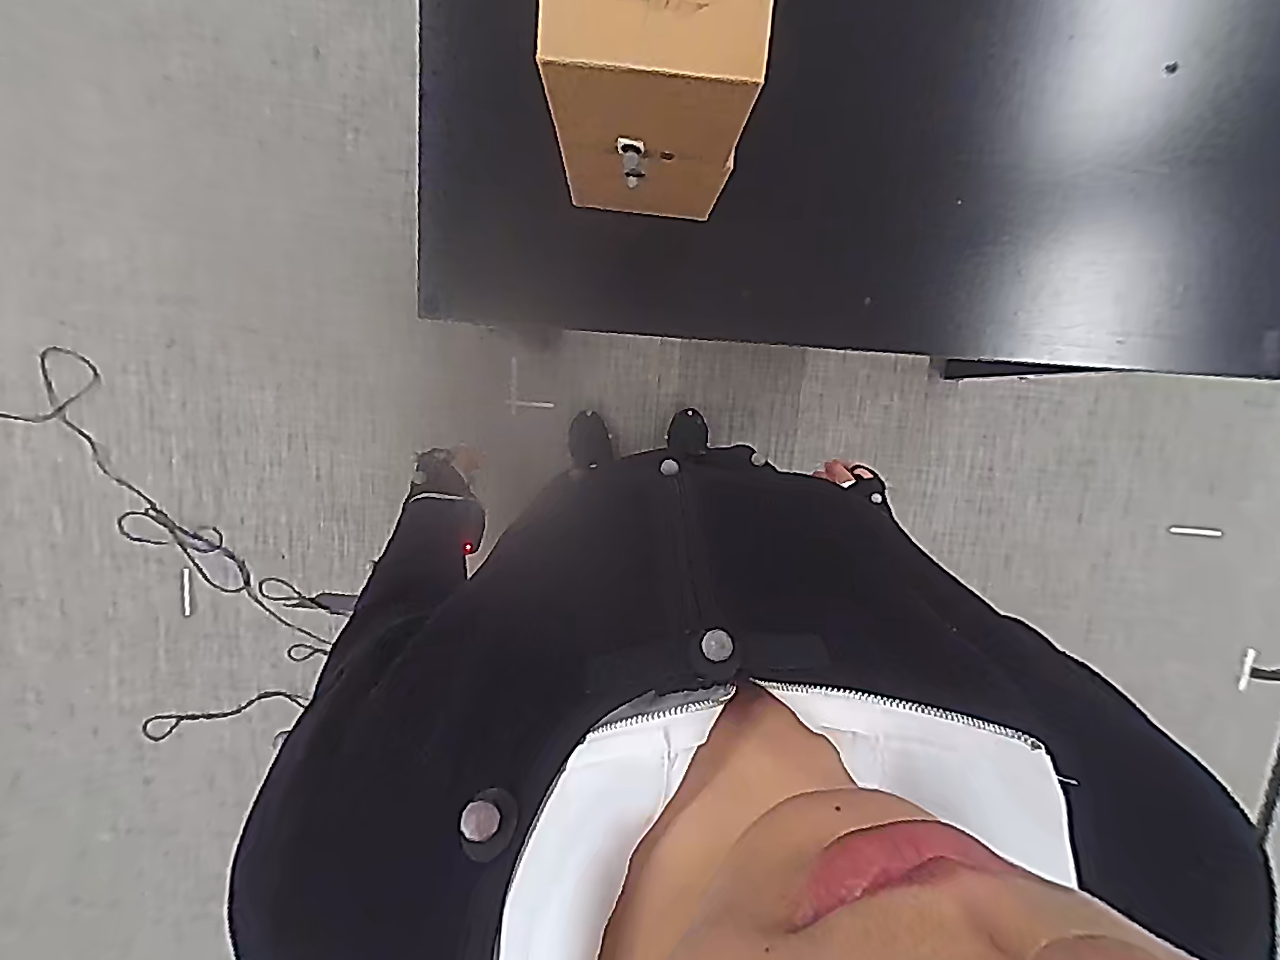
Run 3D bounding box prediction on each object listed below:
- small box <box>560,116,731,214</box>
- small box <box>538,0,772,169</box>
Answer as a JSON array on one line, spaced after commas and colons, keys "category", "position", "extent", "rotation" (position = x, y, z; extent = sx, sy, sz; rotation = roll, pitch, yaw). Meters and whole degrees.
[{"category": "small box", "position": [0.010, -0.420, 0.613], "extent": [0.179, 0.176, 0.168], "rotation": [5, 99, -4]}, {"category": "small box", "position": [0.013, -0.394, 0.453], "extent": [0.168, 0.176, 0.179], "rotation": [4, 100, -1]}]
